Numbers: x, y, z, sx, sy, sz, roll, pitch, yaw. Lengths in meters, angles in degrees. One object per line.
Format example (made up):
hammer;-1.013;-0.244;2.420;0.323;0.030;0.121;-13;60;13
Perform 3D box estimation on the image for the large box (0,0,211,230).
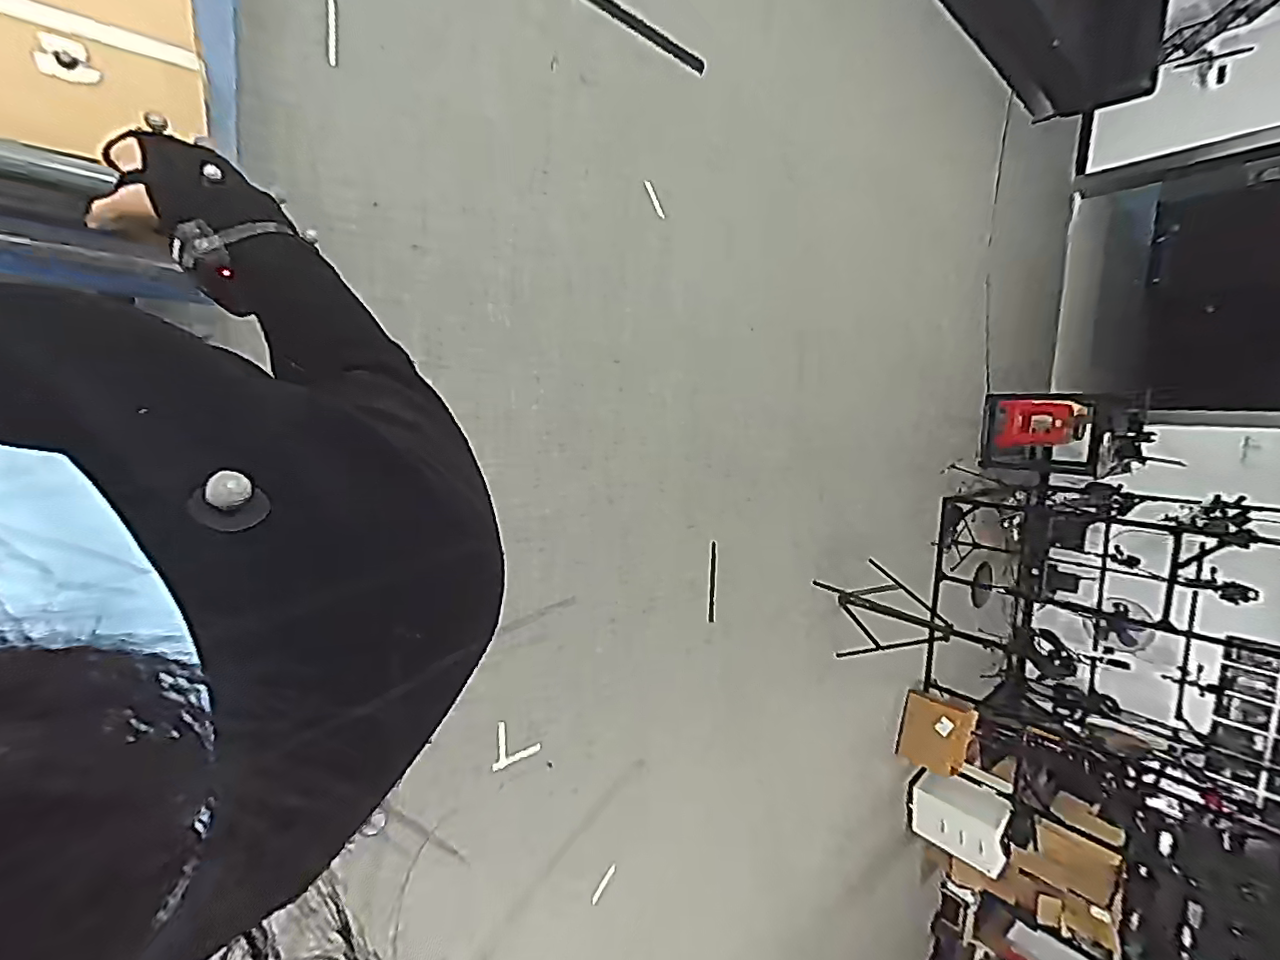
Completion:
large box;-0.879;-0.579;0.749;0.408;0.320;0.320;-7;101;-42
